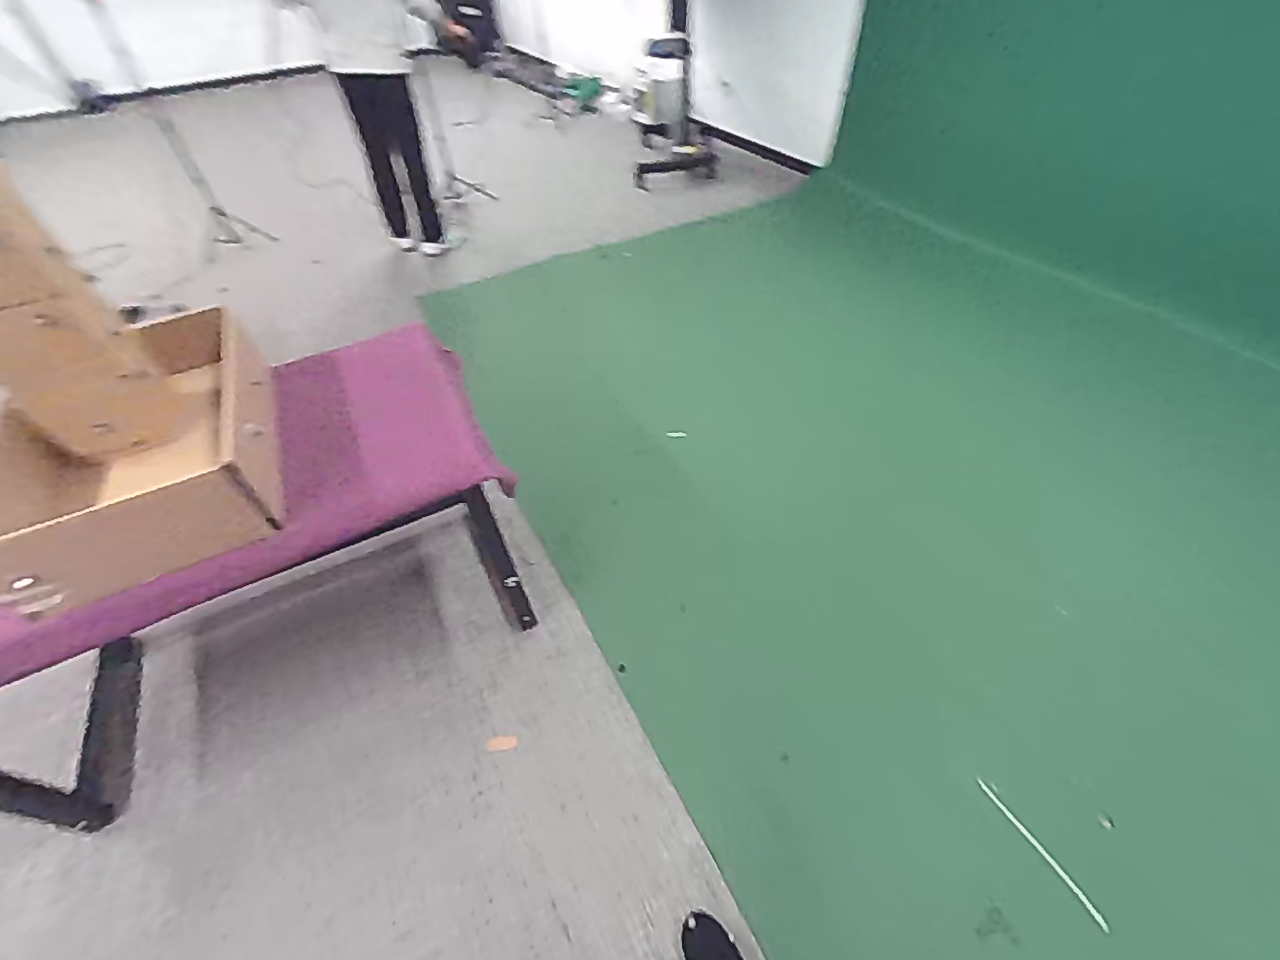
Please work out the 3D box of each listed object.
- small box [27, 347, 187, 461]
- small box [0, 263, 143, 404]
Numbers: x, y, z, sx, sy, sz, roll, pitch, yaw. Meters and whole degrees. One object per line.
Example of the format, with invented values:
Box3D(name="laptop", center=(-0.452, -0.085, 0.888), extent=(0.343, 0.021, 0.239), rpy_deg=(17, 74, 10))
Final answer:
Box3D(name="small box", center=(-1.079, -0.159, 1.115), extent=(0.168, 0.176, 0.179), rpy_deg=(-22, 52, -16))
Box3D(name="small box", center=(-1.079, -0.267, 0.994), extent=(0.179, 0.176, 0.168), rpy_deg=(-24, 52, -18))
